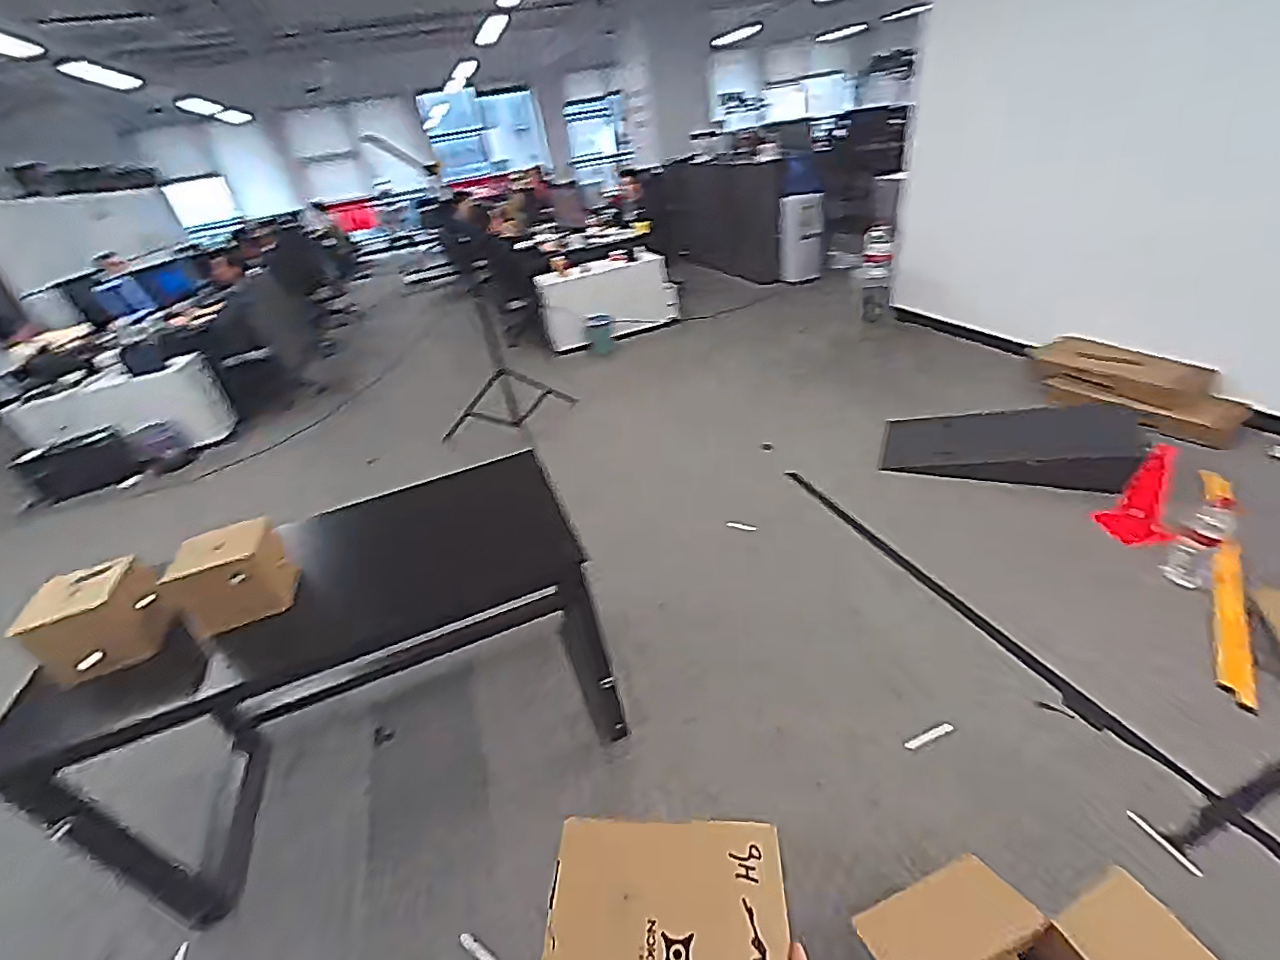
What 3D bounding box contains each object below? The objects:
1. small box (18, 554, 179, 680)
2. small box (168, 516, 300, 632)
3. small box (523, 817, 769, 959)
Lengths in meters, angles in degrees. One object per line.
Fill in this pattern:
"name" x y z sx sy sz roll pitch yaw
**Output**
"small box" -1.166 0.299 1.187 0.168 0.176 0.179 -20 35 -15
"small box" -0.921 0.216 1.250 0.179 0.176 0.168 -18 33 -14
"small box" 0.012 0.393 0.432 0.179 0.176 0.168 -3 39 6
